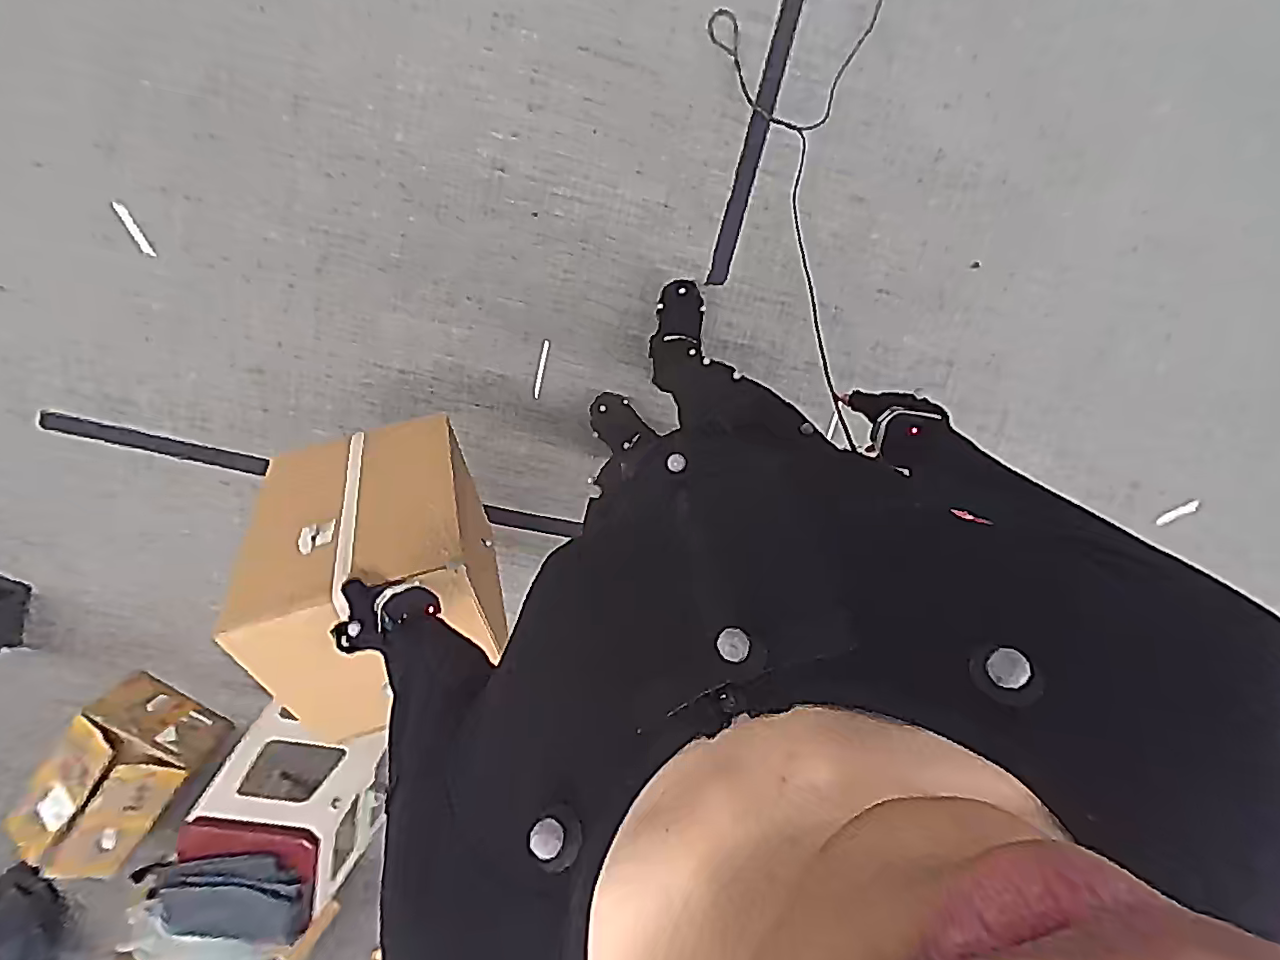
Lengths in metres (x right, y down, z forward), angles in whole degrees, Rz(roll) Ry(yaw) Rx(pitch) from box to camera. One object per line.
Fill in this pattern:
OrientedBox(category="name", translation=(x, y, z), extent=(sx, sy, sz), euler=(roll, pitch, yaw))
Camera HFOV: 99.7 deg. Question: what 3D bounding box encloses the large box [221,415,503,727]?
OrientedBox(category="large box", translation=(-0.448, 0.140, 0.959), extent=(0.320, 0.408, 0.320), euler=(-15, 132, -11))
